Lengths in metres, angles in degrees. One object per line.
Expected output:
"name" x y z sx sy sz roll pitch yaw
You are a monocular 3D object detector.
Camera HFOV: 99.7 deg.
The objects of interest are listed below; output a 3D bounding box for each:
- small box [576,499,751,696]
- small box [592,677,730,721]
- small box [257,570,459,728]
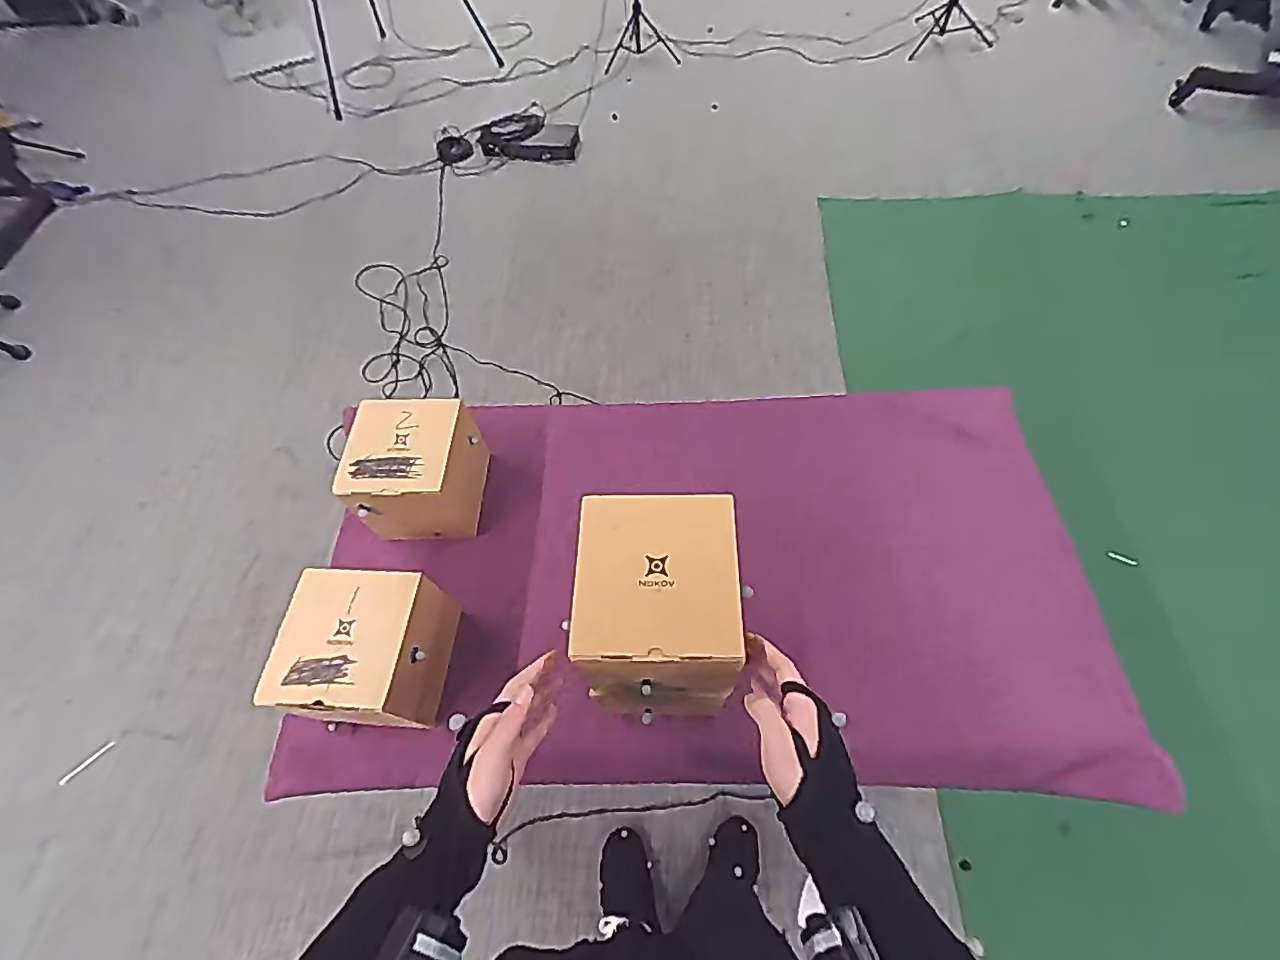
"small box" 0.026 0.137 0.609 0.168 0.176 0.179 0 60 3
"small box" 0.030 0.224 0.746 0.168 0.176 0.179 0 60 3
"small box" -0.370 0.240 0.752 0.168 0.176 0.179 2 59 3
